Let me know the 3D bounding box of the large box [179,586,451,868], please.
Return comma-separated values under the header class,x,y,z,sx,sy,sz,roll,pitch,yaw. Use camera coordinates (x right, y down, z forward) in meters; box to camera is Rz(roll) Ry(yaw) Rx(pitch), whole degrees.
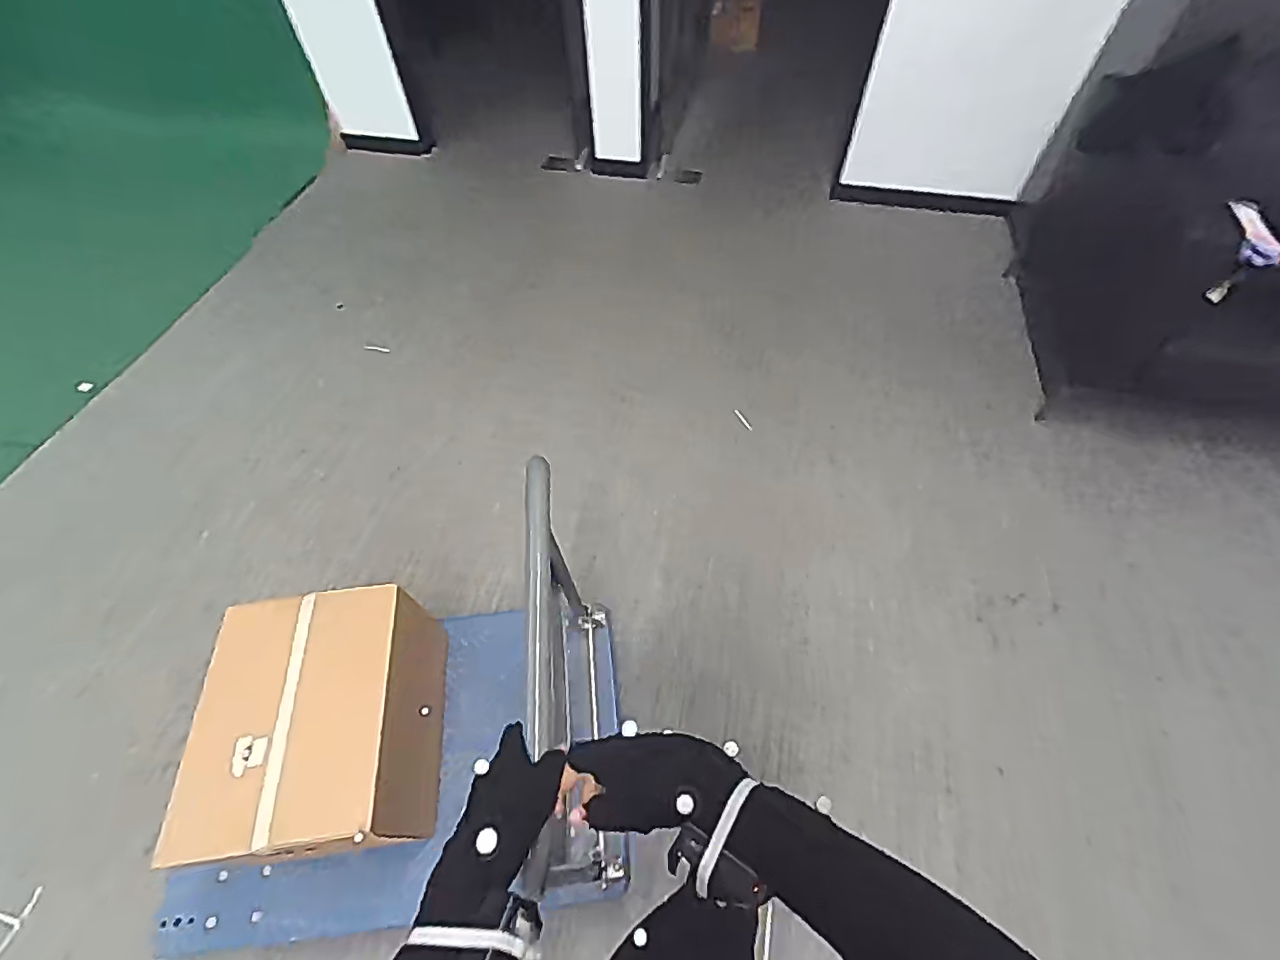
class,x,y,z,sx,sy,sz,roll,pitch,yaw
large box,-0.562,0.466,1.036,0.320,0.320,0.408,-8,57,-4
